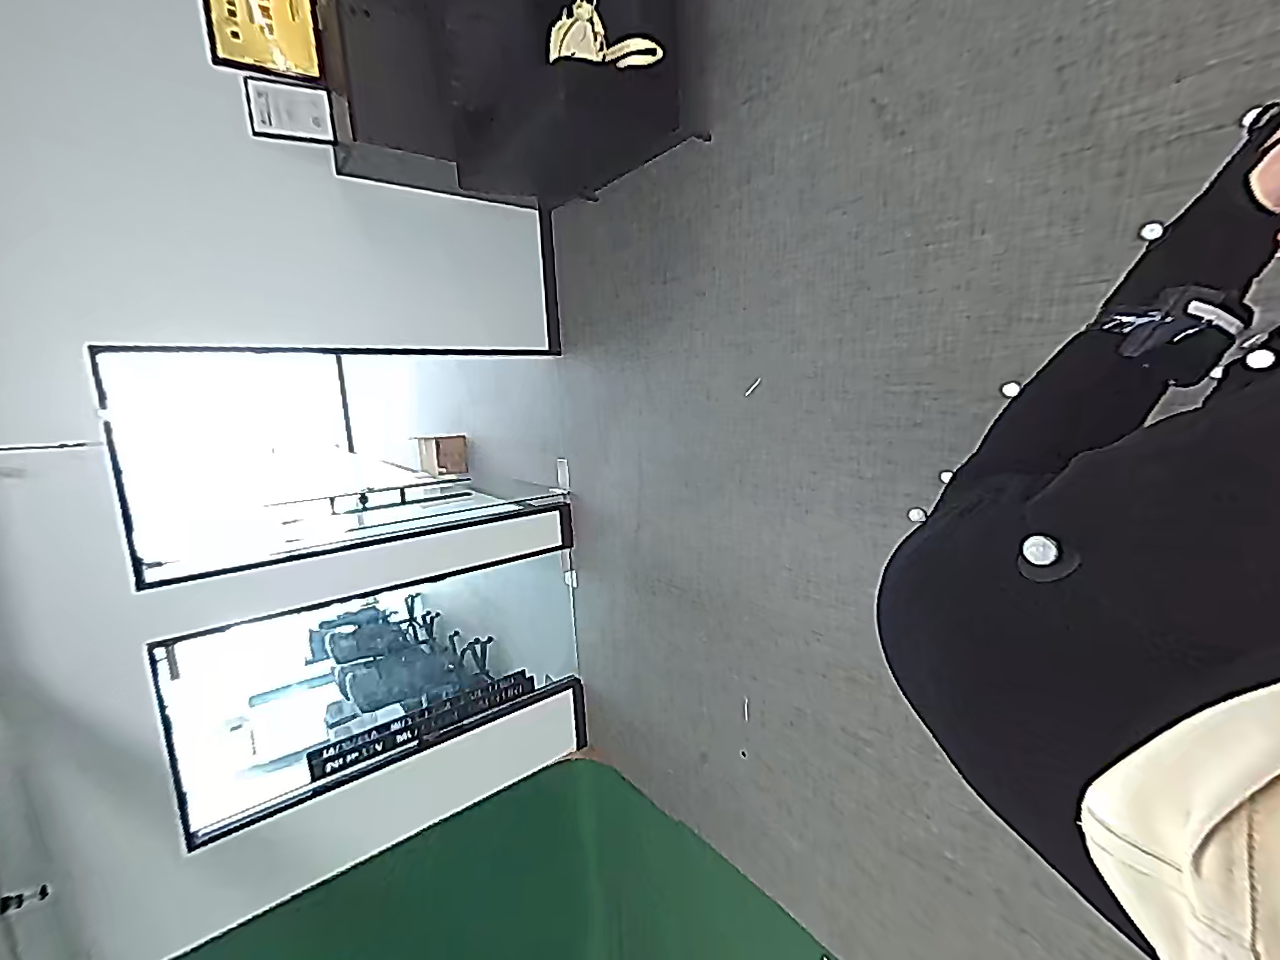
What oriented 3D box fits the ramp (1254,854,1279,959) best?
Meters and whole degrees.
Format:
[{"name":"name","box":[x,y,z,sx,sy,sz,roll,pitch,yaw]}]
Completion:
[{"name":"ramp","box":[1.472,1.312,1.003,0.509,0.206,0.991,6,102,53]}]
